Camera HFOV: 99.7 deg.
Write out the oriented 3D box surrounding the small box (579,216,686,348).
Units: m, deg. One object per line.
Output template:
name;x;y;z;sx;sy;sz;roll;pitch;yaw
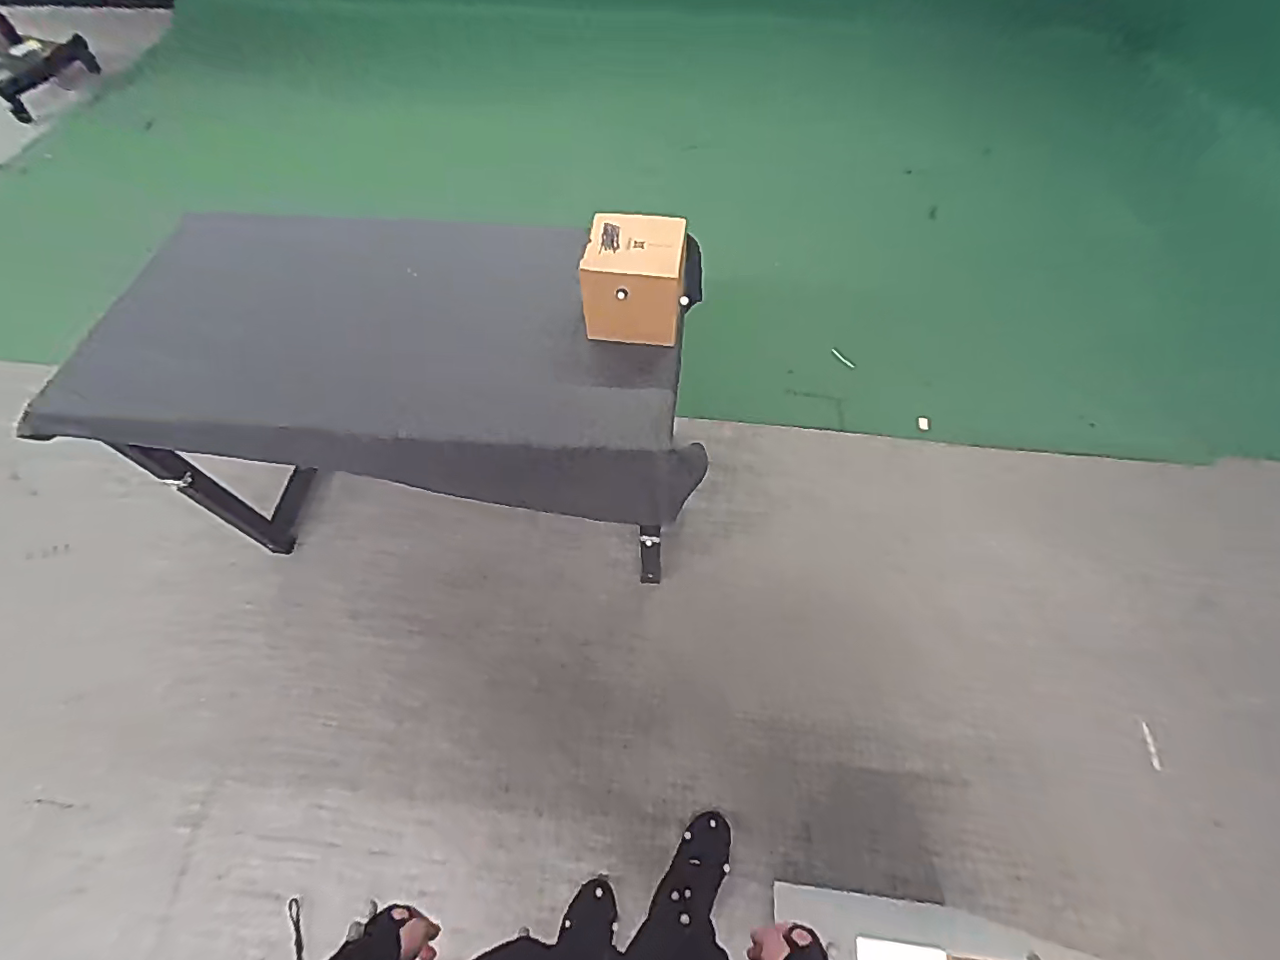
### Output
small box;-0.012;-0.375;1.039;0.179;0.176;0.168;8;59;2
